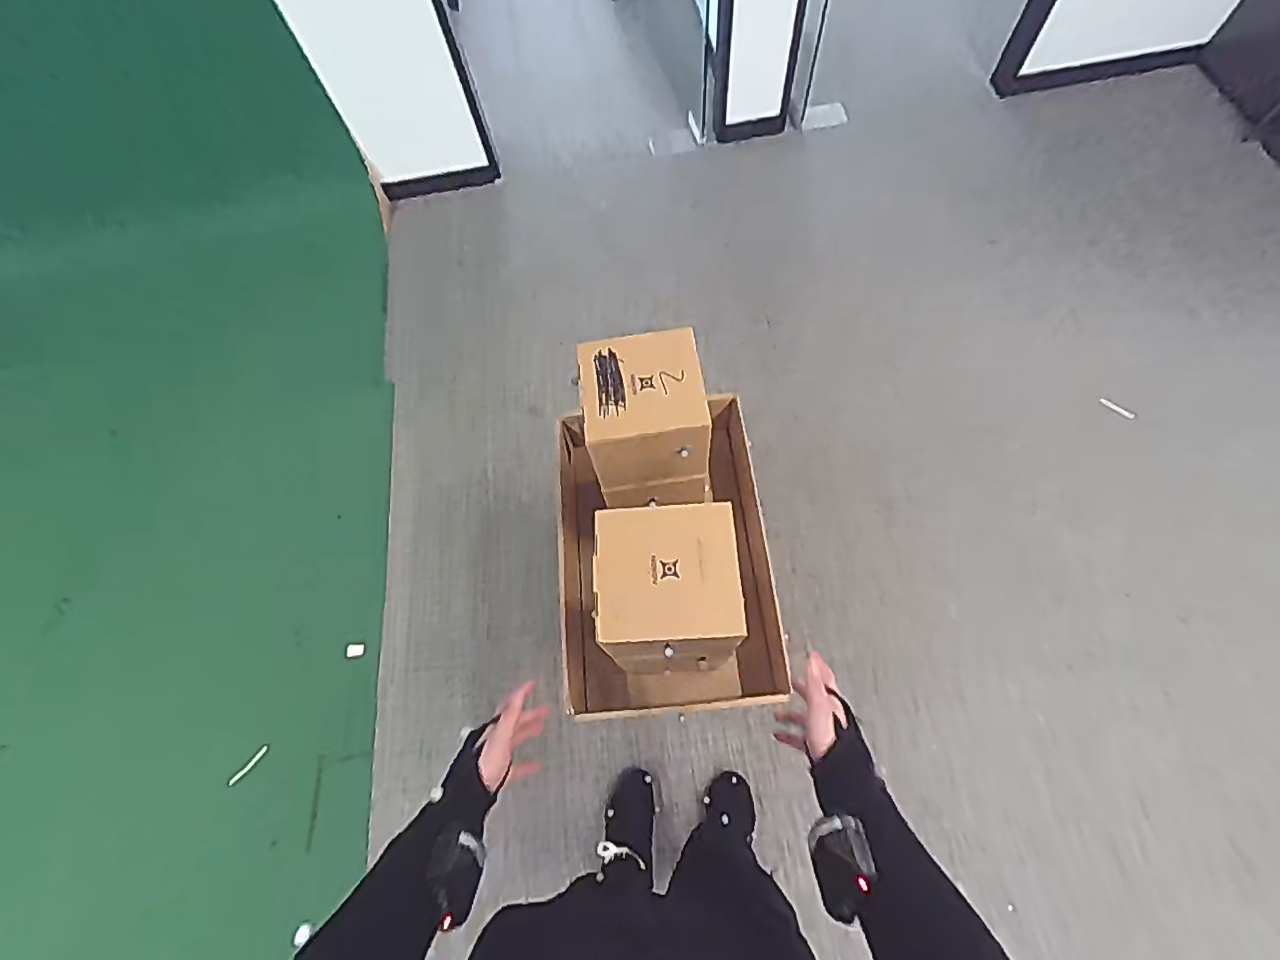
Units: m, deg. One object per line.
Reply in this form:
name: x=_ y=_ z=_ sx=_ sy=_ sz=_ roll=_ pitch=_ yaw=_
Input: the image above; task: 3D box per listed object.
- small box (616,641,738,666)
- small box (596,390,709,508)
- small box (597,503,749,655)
small box: x=0.055 y=0.204 z=0.868 sx=0.179 sy=0.176 sz=0.168 roll=-4 pitch=65 yaw=3
small box: x=0.024 y=-0.041 z=0.977 sx=0.179 sy=0.176 sz=0.168 roll=-8 pitch=67 yaw=2
small box: x=0.042 y=0.138 z=0.719 sx=0.179 sy=0.176 sz=0.168 roll=-3 pitch=67 yaw=3
